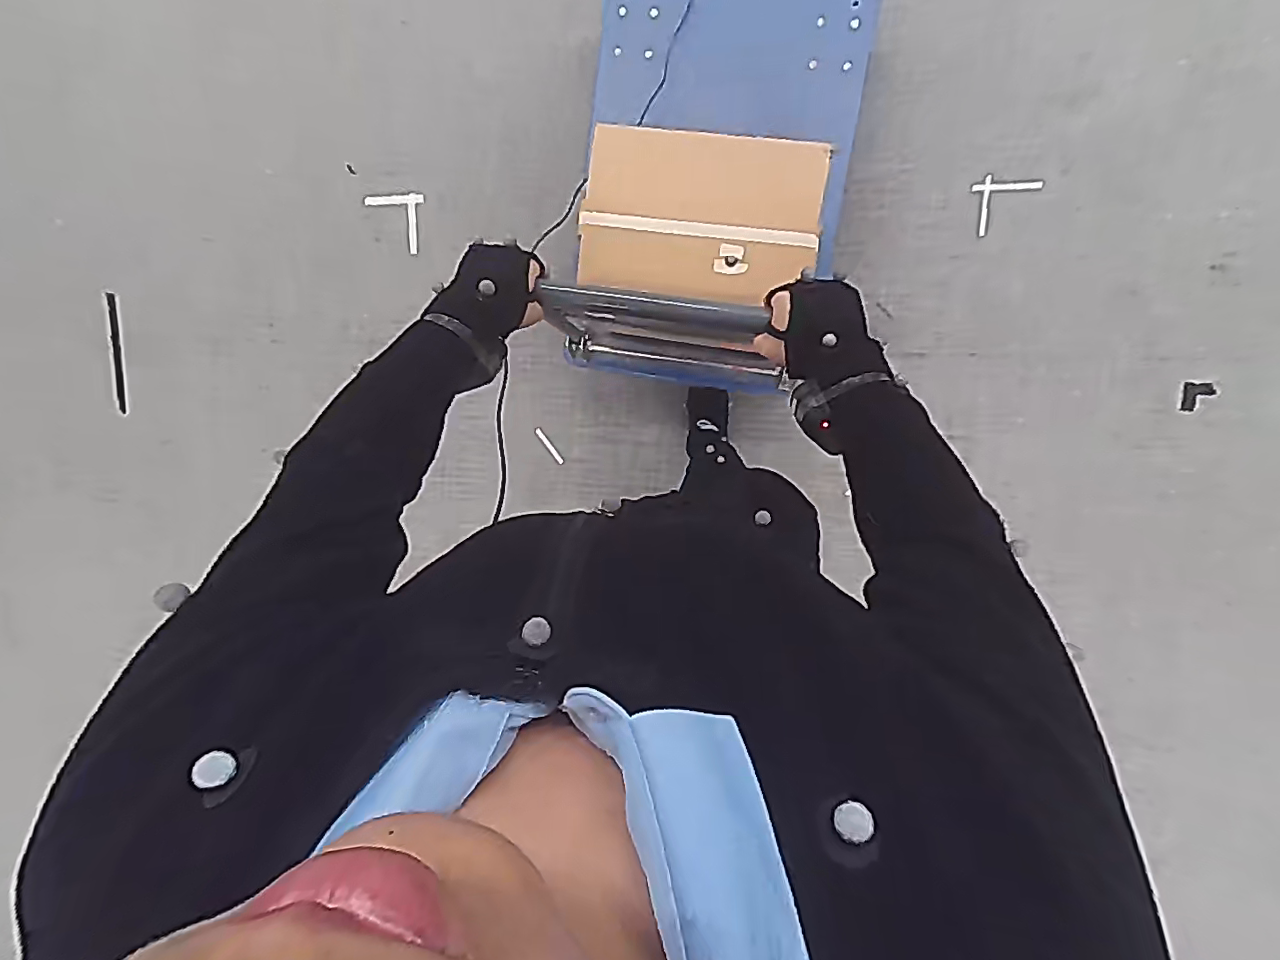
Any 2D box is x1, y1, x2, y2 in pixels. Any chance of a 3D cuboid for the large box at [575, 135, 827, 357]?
[{"bbox_3d":[0.111,-0.435,1.075,0.408,0.320,0.320,9,99,6],"label":"large box"}]
